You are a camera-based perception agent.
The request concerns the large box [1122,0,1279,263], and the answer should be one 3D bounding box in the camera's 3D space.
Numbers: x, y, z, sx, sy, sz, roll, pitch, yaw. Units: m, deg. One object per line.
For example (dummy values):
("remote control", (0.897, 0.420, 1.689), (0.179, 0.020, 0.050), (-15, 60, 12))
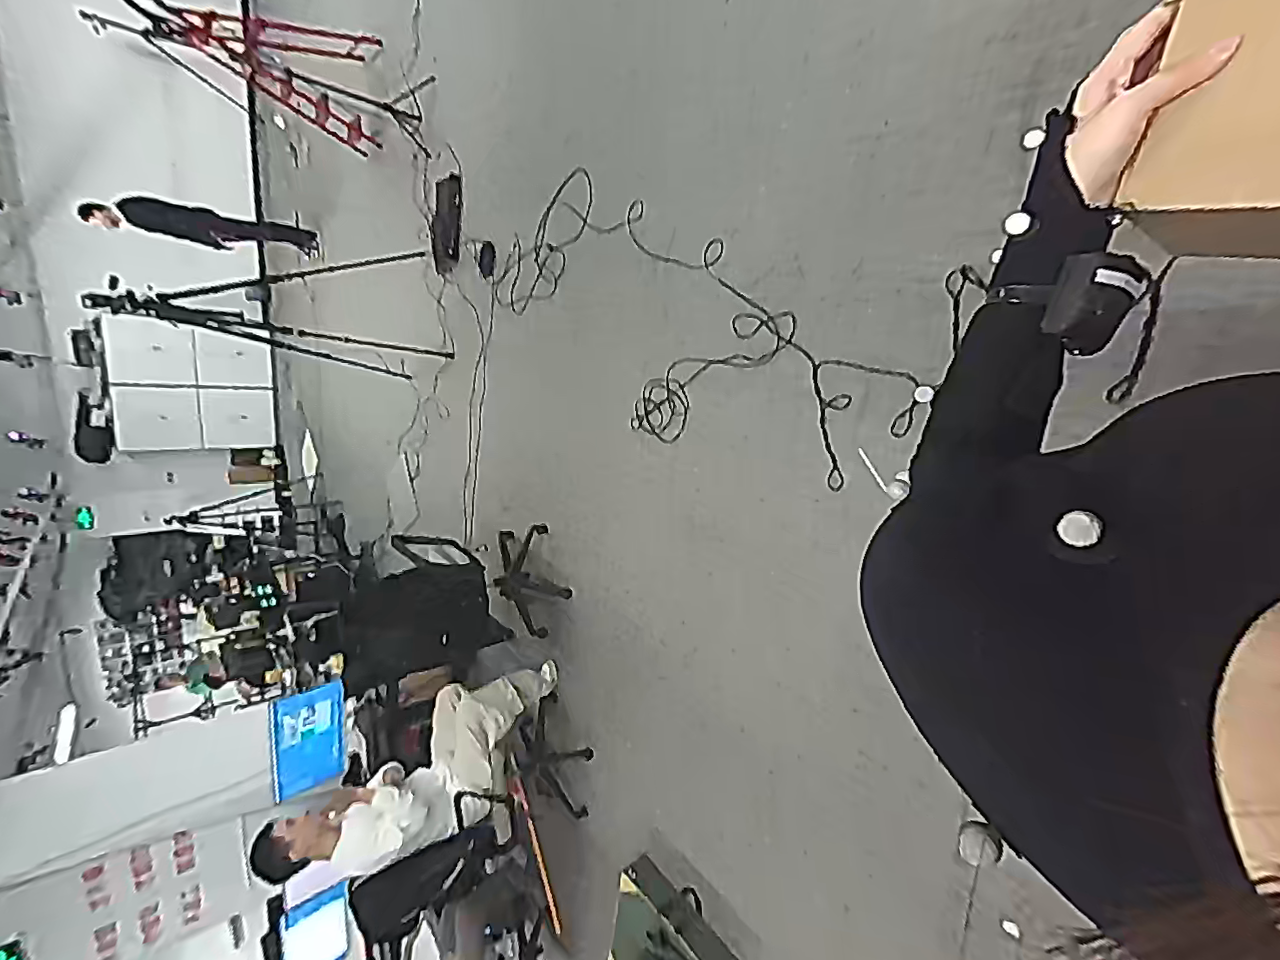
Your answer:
("large box", (0.606, -0.311, 0.317), (0.408, 0.320, 0.320), (23, 117, 43))
